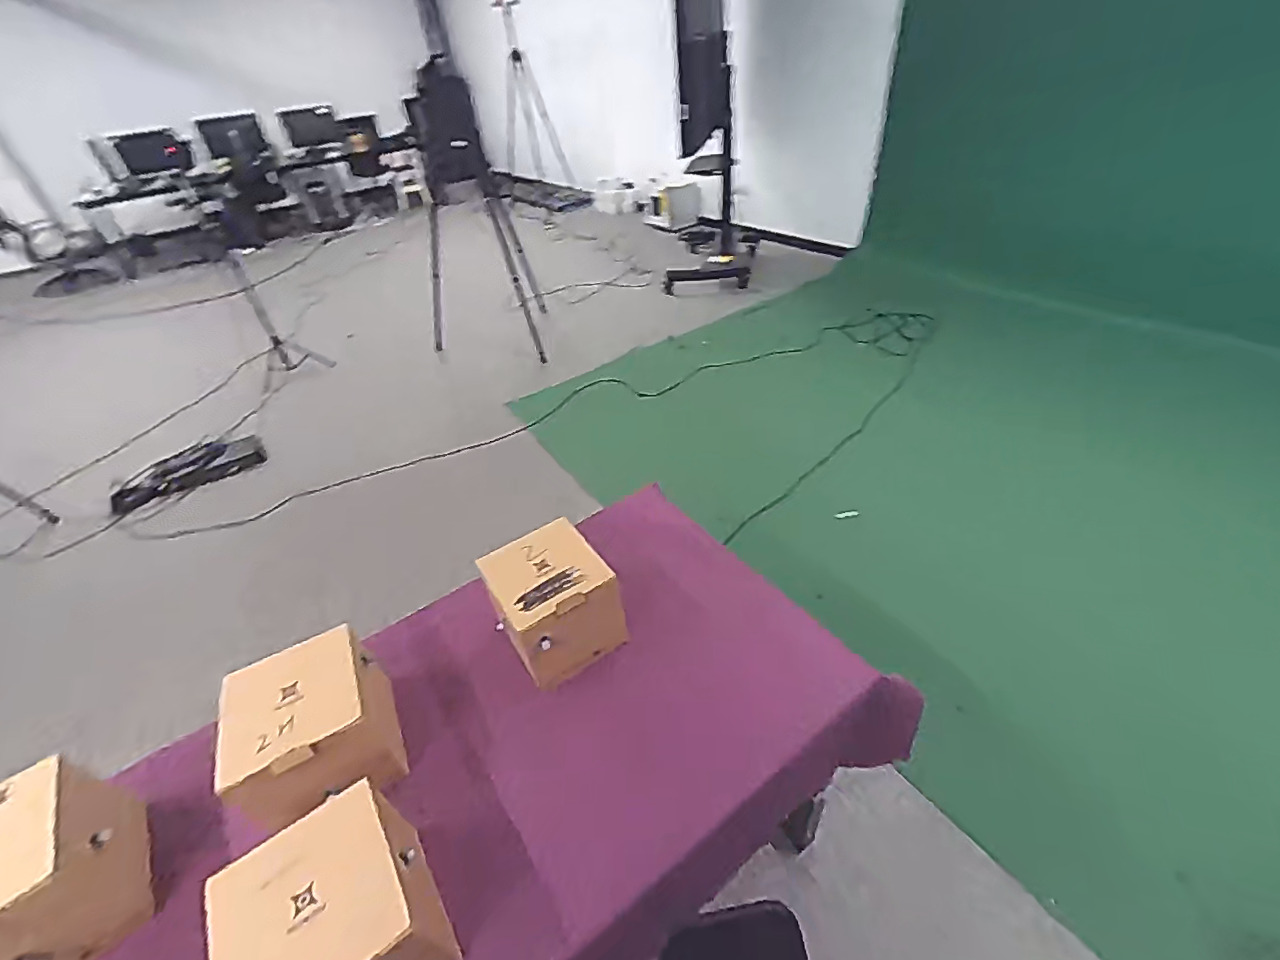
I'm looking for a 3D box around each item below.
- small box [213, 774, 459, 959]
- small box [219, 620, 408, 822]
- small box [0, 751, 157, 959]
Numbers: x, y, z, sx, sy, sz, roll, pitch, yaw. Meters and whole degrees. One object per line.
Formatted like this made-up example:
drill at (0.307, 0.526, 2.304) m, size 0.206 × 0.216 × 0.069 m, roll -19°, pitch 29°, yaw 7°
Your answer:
small box at (-0.320, 0.474, 0.587) m, size 0.168 × 0.176 × 0.179 m, roll -28°, pitch 43°, yaw -24°
small box at (-0.451, 0.341, 0.764) m, size 0.168 × 0.176 × 0.179 m, roll -24°, pitch 43°, yaw -19°
small box at (-0.724, 0.475, 0.643) m, size 0.168 × 0.176 × 0.179 m, roll -31°, pitch 46°, yaw -27°
